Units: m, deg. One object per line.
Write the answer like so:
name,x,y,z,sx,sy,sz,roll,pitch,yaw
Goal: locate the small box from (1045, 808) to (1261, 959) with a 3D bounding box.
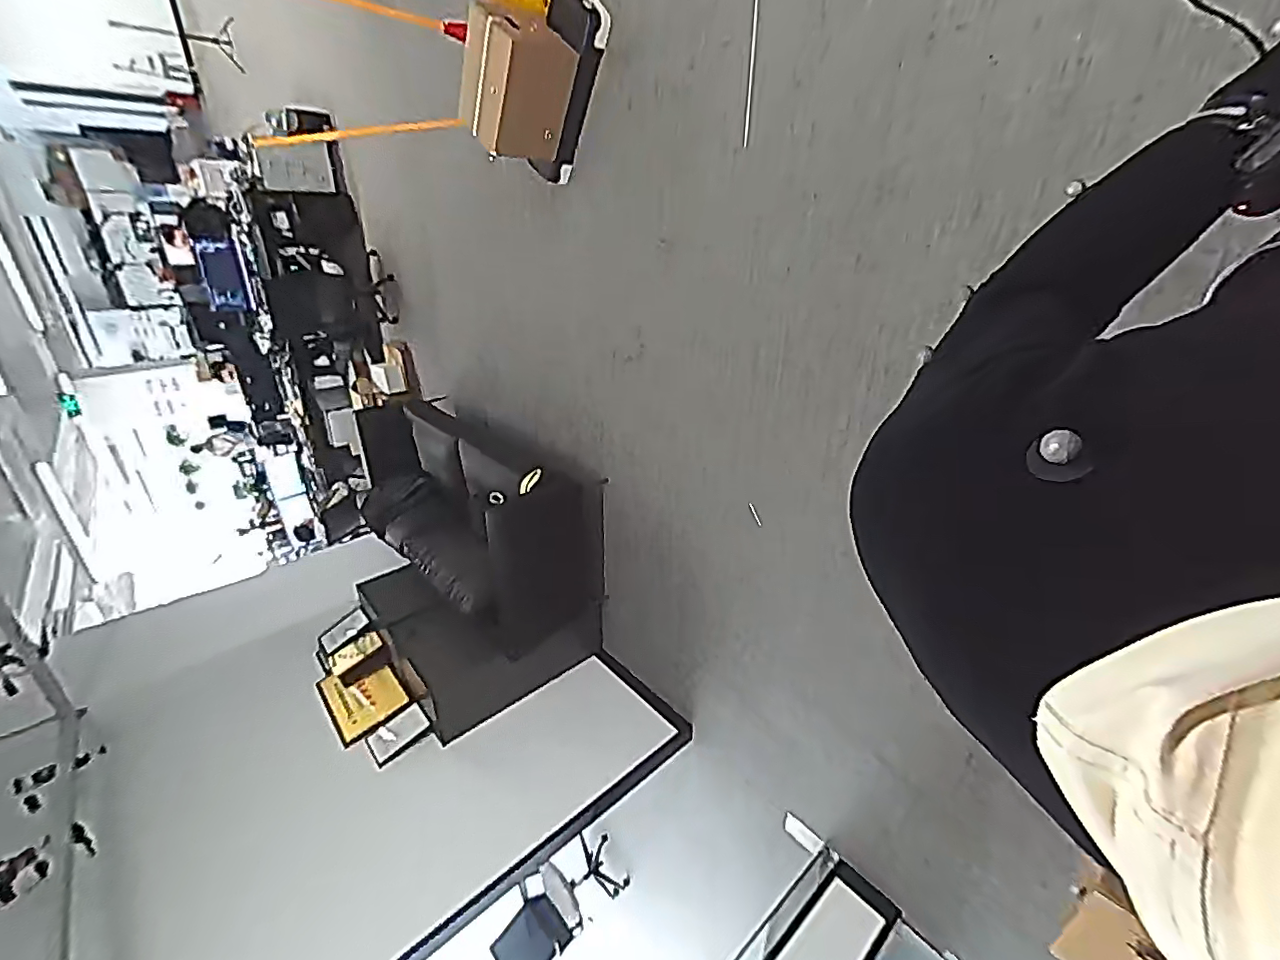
small box,0.723,0.619,0.767,0.168,0.176,0.179,29,129,42
